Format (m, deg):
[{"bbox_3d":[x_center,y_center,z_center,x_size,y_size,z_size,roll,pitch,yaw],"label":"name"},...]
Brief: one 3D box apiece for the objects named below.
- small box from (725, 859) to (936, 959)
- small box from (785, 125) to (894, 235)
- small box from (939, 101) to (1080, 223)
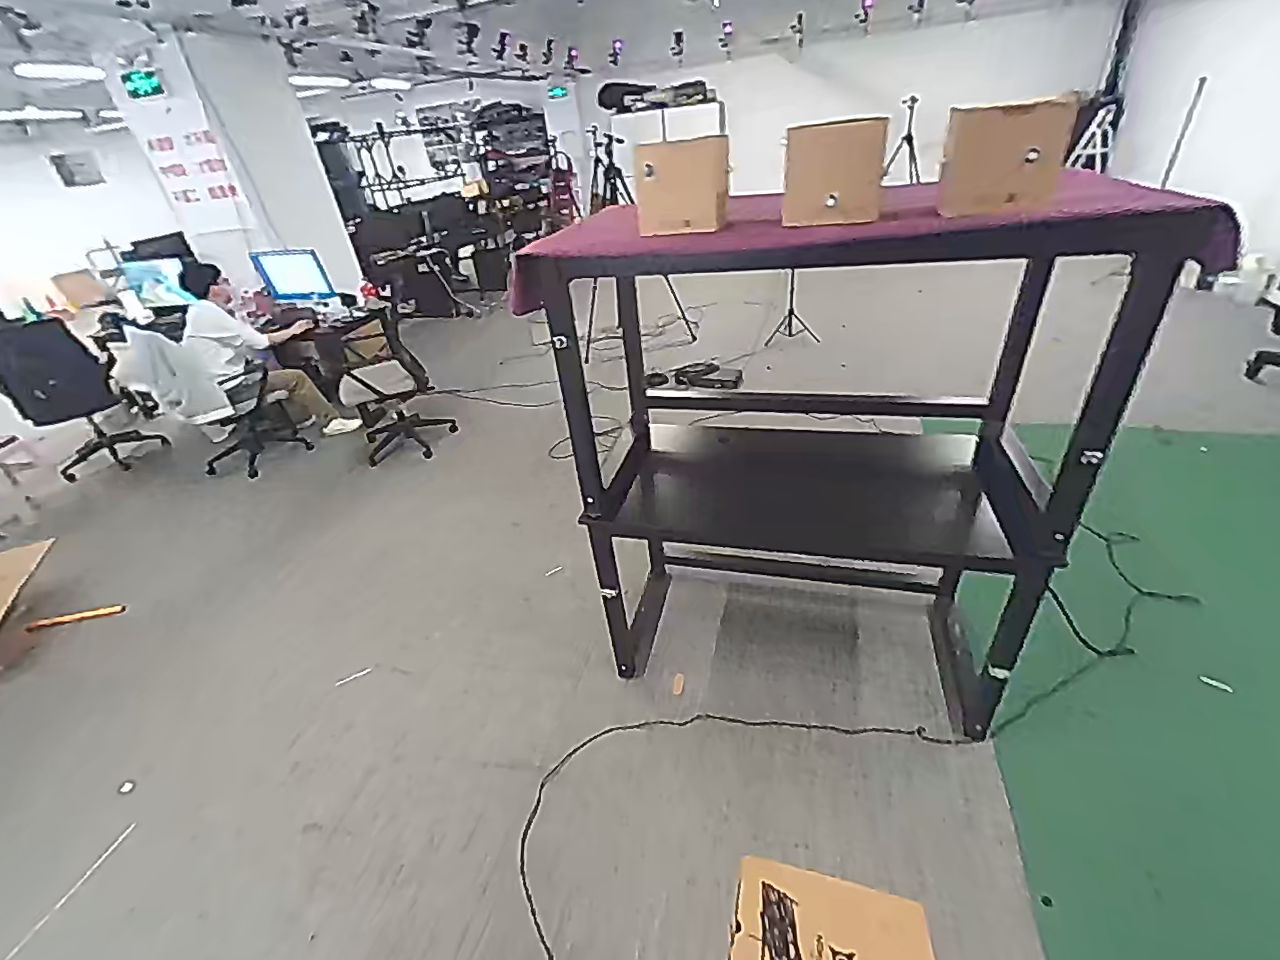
[{"bbox_3d":[0.163,0.494,0.478,0.179,0.176,0.168,5,10,17],"label":"small box"},{"bbox_3d":[0.382,-0.585,1.055,0.179,0.176,0.168,4,32,17],"label":"small box"},{"bbox_3d":[0.649,-0.567,0.974,0.168,0.176,0.179,6,34,20],"label":"small box"}]
